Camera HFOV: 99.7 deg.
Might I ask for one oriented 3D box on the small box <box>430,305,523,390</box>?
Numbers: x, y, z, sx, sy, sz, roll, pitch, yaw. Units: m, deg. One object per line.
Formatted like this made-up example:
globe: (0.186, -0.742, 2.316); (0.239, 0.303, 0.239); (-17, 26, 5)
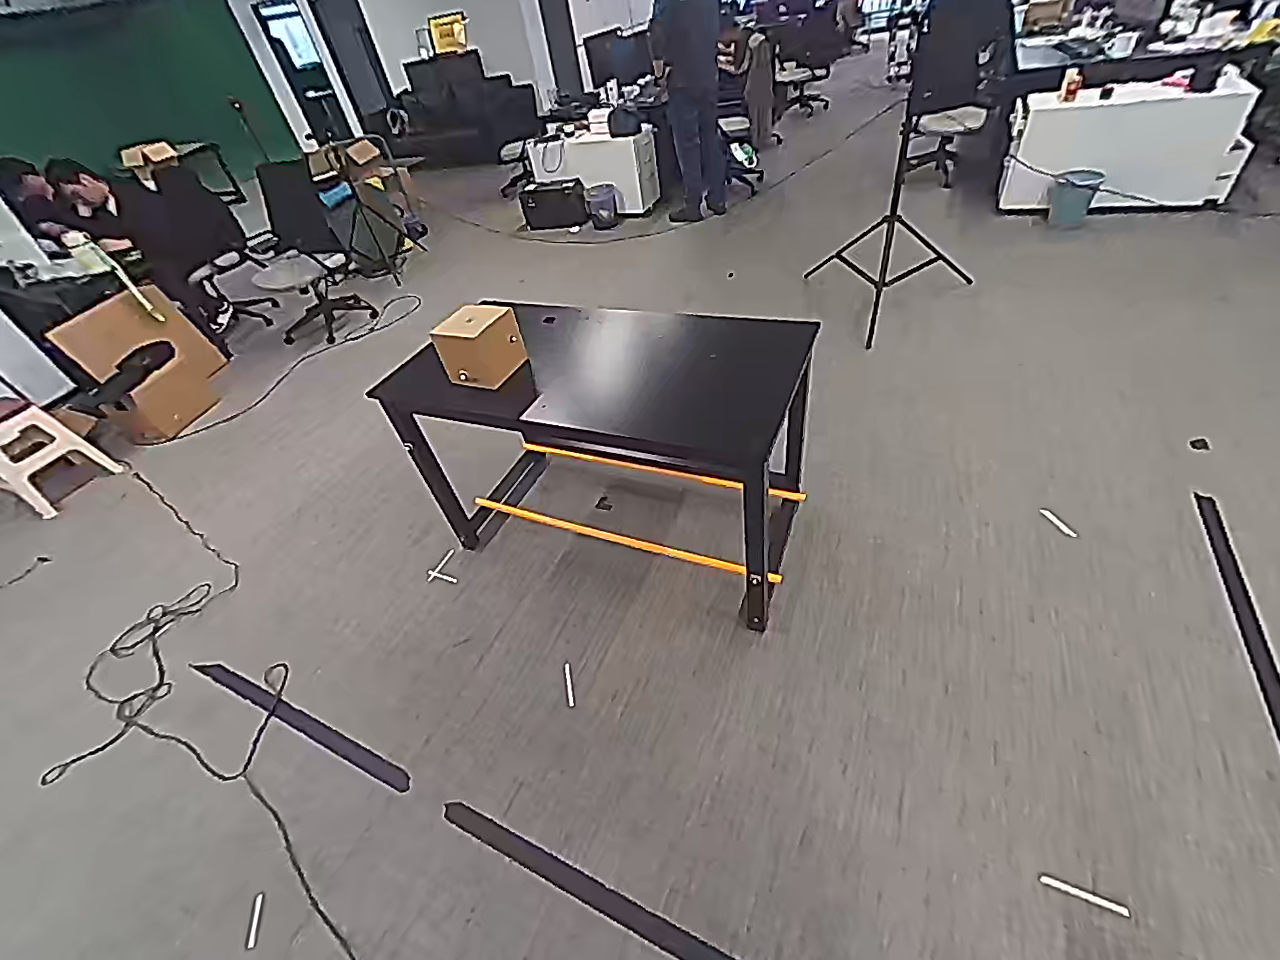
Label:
small box: (-0.454, -0.380, 1.544); (0.168, 0.176, 0.179); (10, 47, 24)
